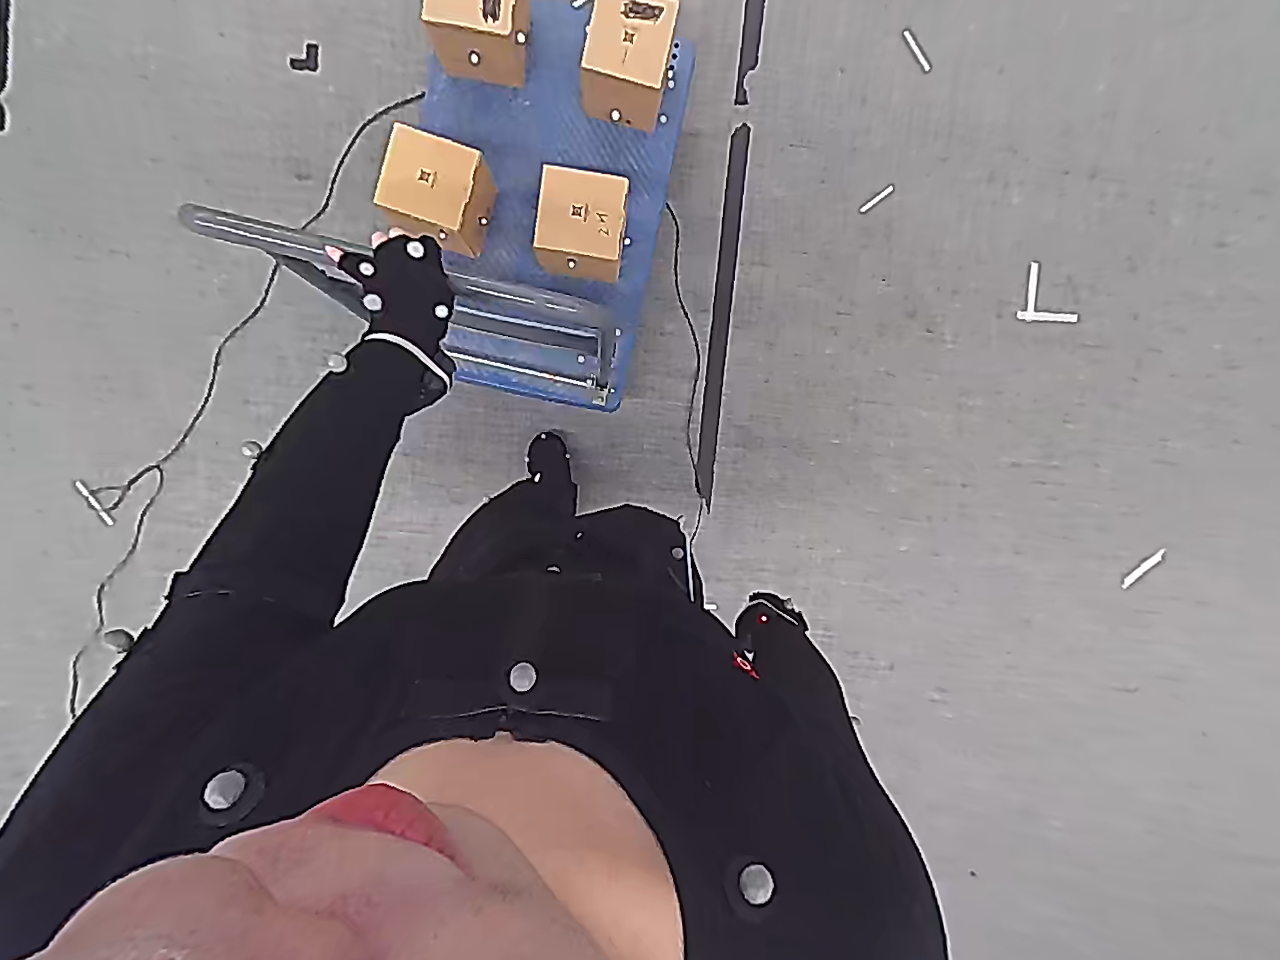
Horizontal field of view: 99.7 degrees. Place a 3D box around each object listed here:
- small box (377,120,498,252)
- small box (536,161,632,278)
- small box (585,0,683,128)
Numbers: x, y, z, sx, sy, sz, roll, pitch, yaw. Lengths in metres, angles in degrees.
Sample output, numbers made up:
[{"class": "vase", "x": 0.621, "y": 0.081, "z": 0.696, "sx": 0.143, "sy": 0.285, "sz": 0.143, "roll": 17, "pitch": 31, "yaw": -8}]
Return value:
[{"class": "small box", "x": -0.420, "y": -0.610, "z": 1.148, "sx": 0.179, "sy": 0.176, "sz": 0.168, "roll": 16, "pitch": 93, "yaw": -6}, {"class": "small box", "x": -0.117, "y": -0.551, "z": 1.167, "sx": 0.179, "sy": 0.176, "sz": 0.168, "roll": 8, "pitch": 94, "yaw": -3}, {"class": "small box", "x": -0.018, "y": -0.897, "z": 1.146, "sx": 0.168, "sy": 0.176, "sz": 0.179, "roll": 13, "pitch": 95, "yaw": -4}]
